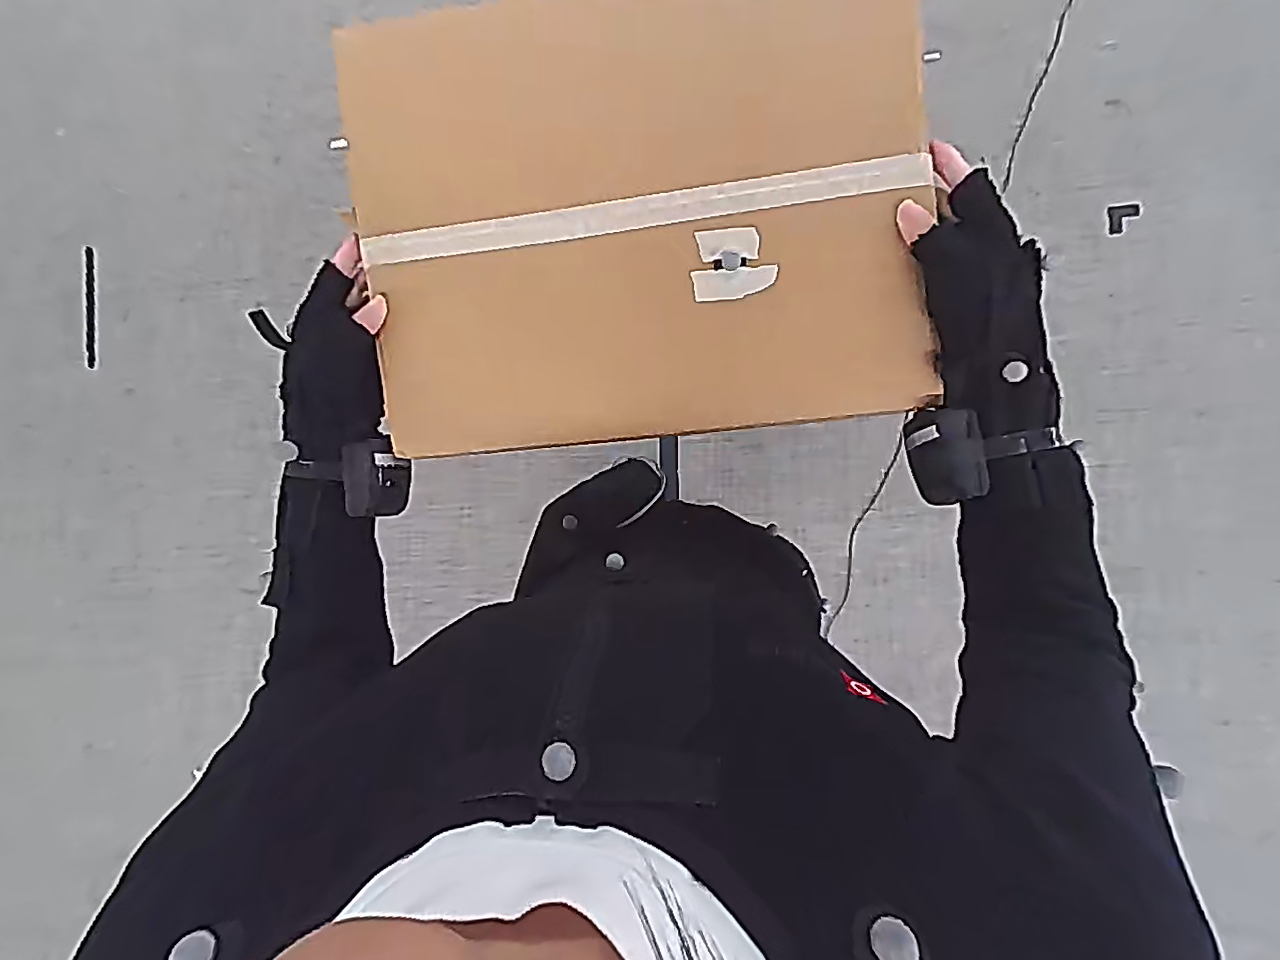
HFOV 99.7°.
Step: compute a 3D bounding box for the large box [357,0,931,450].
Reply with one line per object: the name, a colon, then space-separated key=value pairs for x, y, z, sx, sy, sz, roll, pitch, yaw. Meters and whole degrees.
large box: x=0.010 y=-0.210 z=0.545 sx=0.408 sy=0.320 sz=0.320 roll=-6 pitch=96 yaw=6
